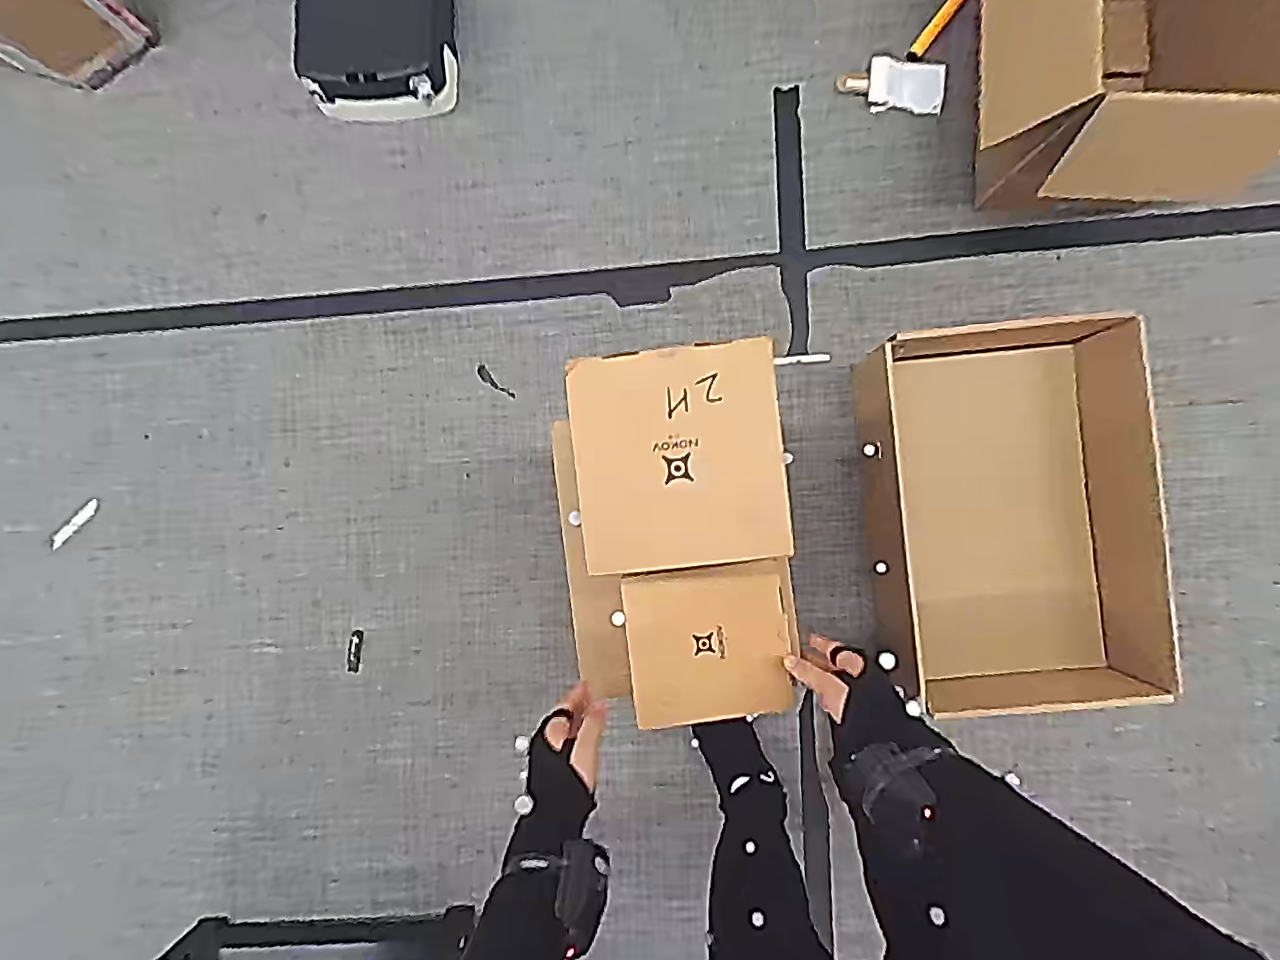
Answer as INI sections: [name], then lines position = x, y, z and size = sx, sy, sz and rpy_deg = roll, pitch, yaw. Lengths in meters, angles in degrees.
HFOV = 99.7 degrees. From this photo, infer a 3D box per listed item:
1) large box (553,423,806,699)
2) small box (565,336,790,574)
[large box]
position = 0.059, 0.094, 0.910
size = 0.320, 0.320, 0.408
rpy_deg = -7, 89, 4
[small box]
position = 0.033, -0.020, 0.503
size = 0.168, 0.176, 0.179
rpy_deg = -6, 90, 2
